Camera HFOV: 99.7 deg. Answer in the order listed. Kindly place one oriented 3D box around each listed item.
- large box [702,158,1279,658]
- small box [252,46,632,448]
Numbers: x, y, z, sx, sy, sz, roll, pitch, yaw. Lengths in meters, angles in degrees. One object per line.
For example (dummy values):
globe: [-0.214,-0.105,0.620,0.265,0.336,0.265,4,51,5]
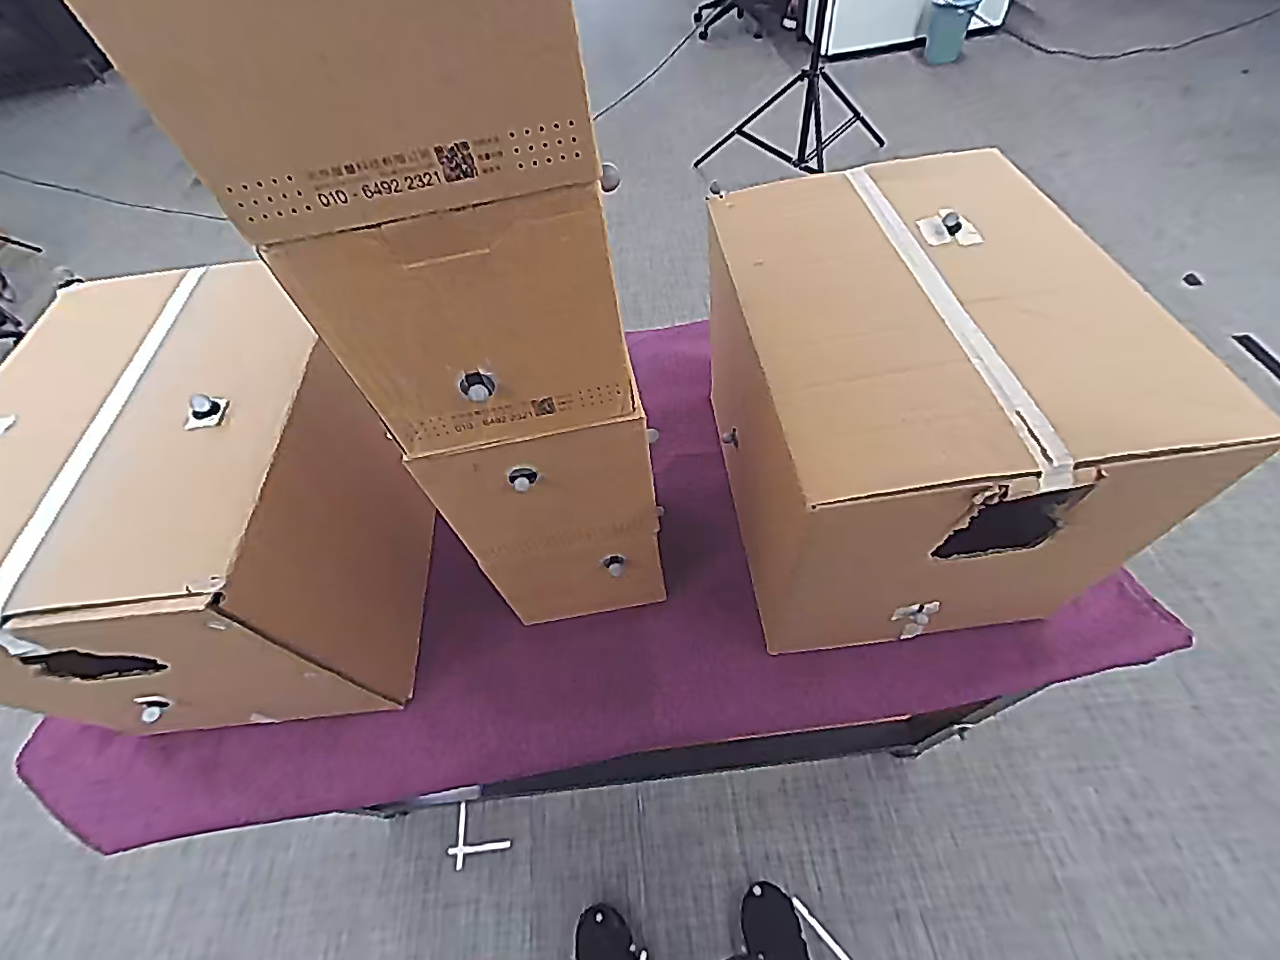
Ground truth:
large box: [0.257,-0.073,0.579,0.320,0.320,0.408,-8,53,1]
small box: [-0.104,-0.148,0.361,0.168,0.176,0.179,-12,55,-2]
